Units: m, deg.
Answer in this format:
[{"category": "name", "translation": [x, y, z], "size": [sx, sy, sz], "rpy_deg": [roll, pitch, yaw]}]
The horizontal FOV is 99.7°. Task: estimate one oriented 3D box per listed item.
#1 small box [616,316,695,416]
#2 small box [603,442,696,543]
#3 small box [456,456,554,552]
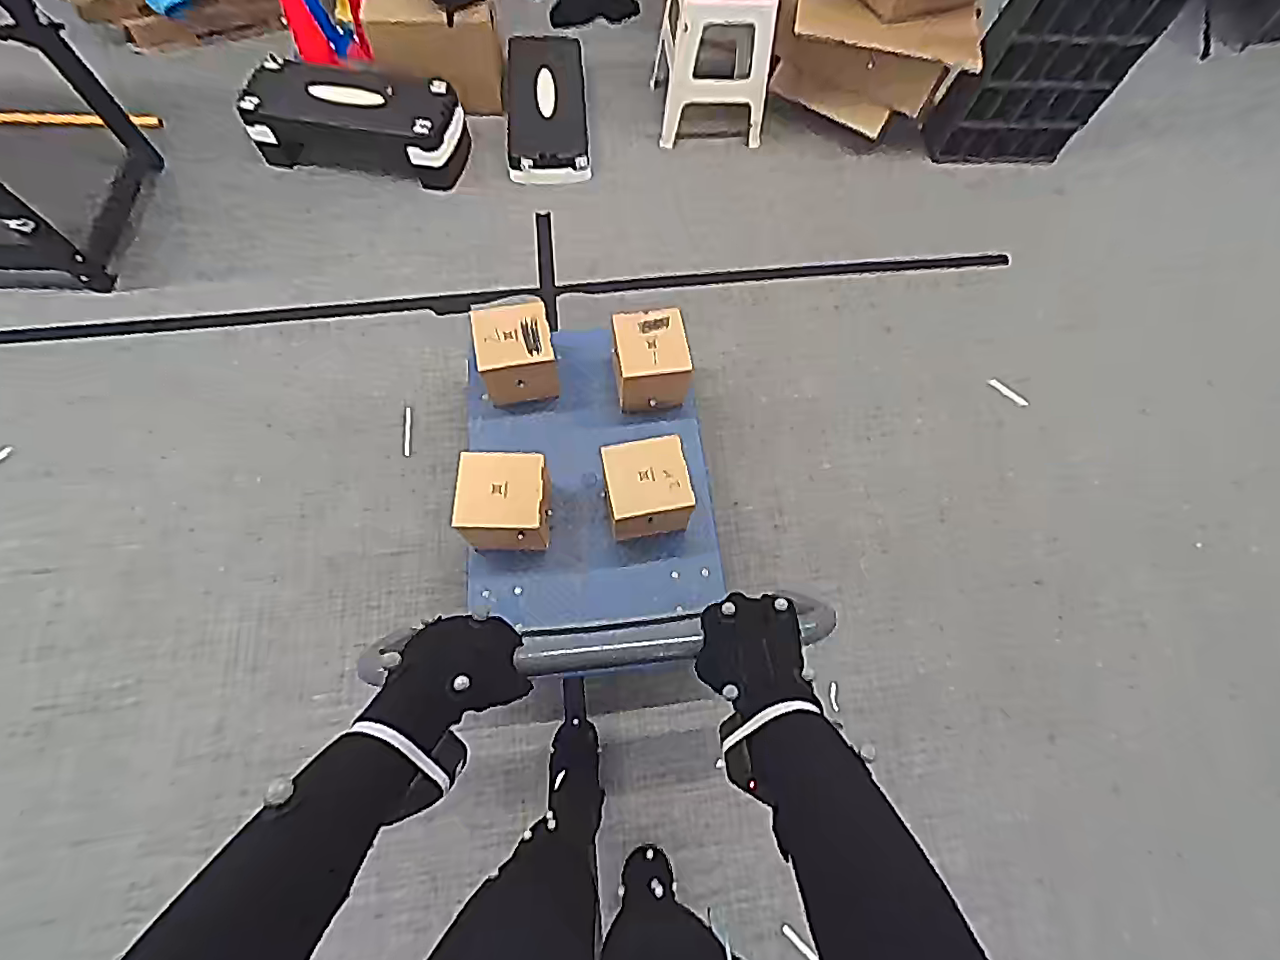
[{"category": "small box", "translation": [0.031, -0.279, 1.343], "size": [0.168, 0.176, 0.179], "rpy_deg": [-7, 70, -6]}, {"category": "small box", "translation": [0.017, 0.033, 1.216], "size": [0.179, 0.176, 0.168], "rpy_deg": [-9, 69, -7]}, {"category": "small box", "translation": [-0.287, 0.058, 1.189], "size": [0.179, 0.176, 0.168], "rpy_deg": [2, 68, -4]}]
